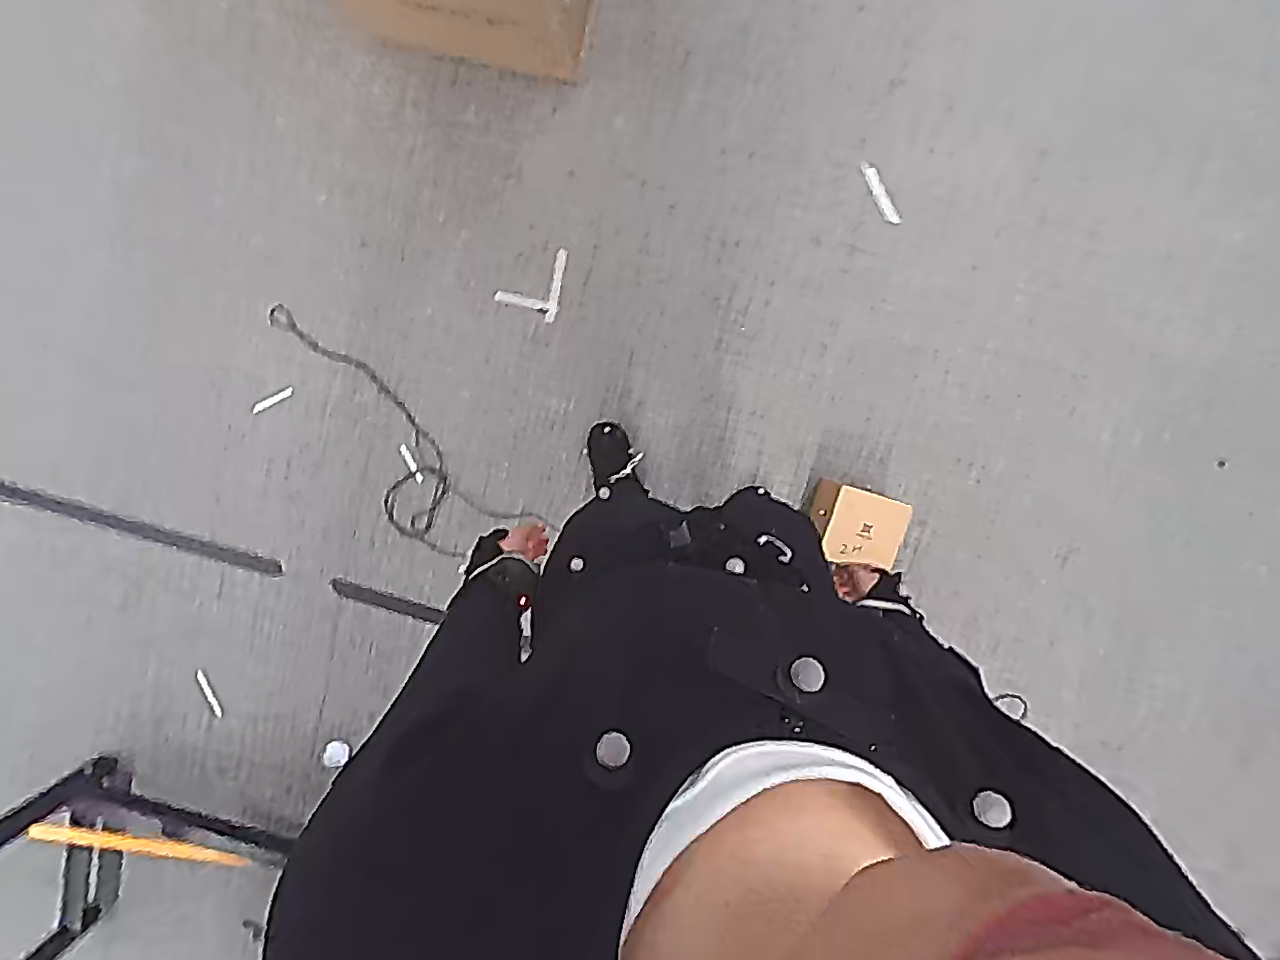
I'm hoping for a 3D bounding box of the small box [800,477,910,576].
[{"bbox_3d":[0.495,0.101,1.276,0.168,0.176,0.179,18,97,1],"label":"small box"}]

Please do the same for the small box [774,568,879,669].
[{"bbox_3d":[0.442,0.327,1.310,0.179,0.176,0.168,14,98,2],"label":"small box"}]
